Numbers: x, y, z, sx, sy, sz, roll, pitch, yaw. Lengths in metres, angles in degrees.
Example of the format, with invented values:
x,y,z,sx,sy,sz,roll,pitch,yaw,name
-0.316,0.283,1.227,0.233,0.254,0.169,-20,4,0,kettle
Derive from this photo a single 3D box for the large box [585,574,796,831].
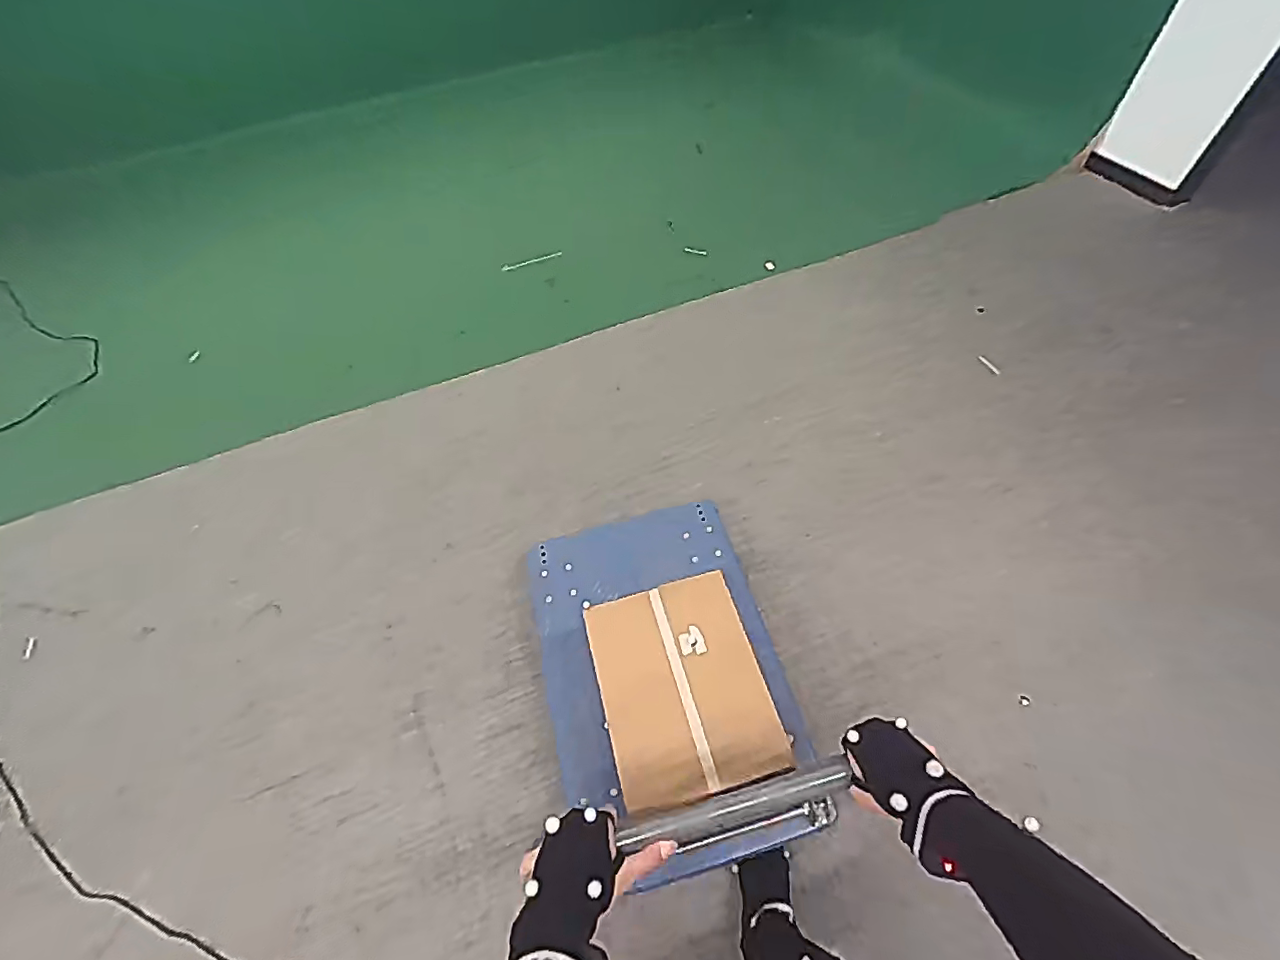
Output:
x,y,z,sx,sy,sz,roll,pitch,yaw,name
0.094,0.482,1.176,0.320,0.320,0.408,-15,54,-6,large box
